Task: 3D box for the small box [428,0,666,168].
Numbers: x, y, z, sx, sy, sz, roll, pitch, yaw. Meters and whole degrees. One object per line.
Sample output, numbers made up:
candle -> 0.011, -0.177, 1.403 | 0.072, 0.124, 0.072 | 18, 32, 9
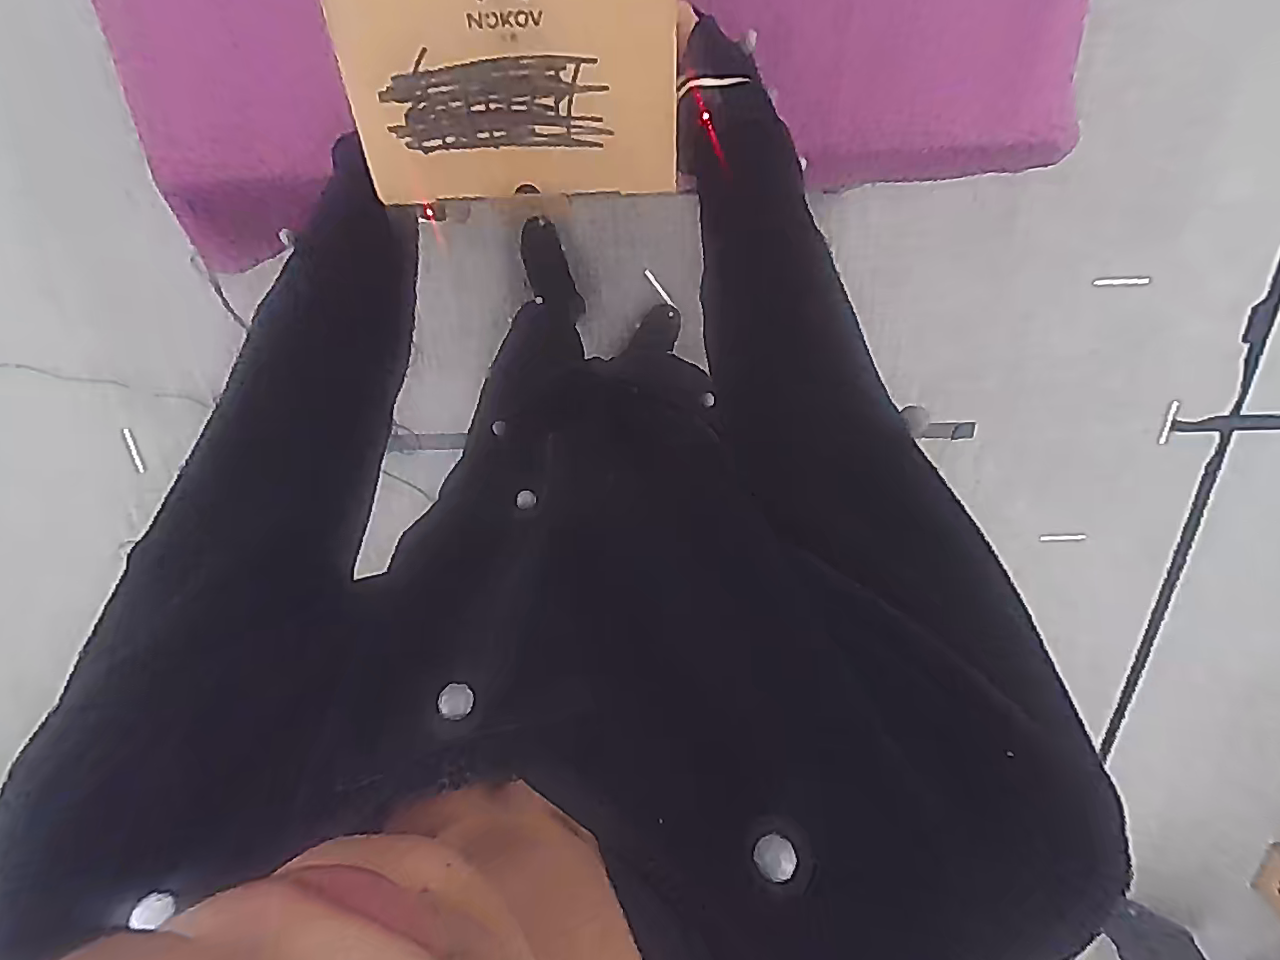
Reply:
small box -> -0.067, -0.370, 0.445 | 0.168, 0.176, 0.179 | -4, 127, 1
